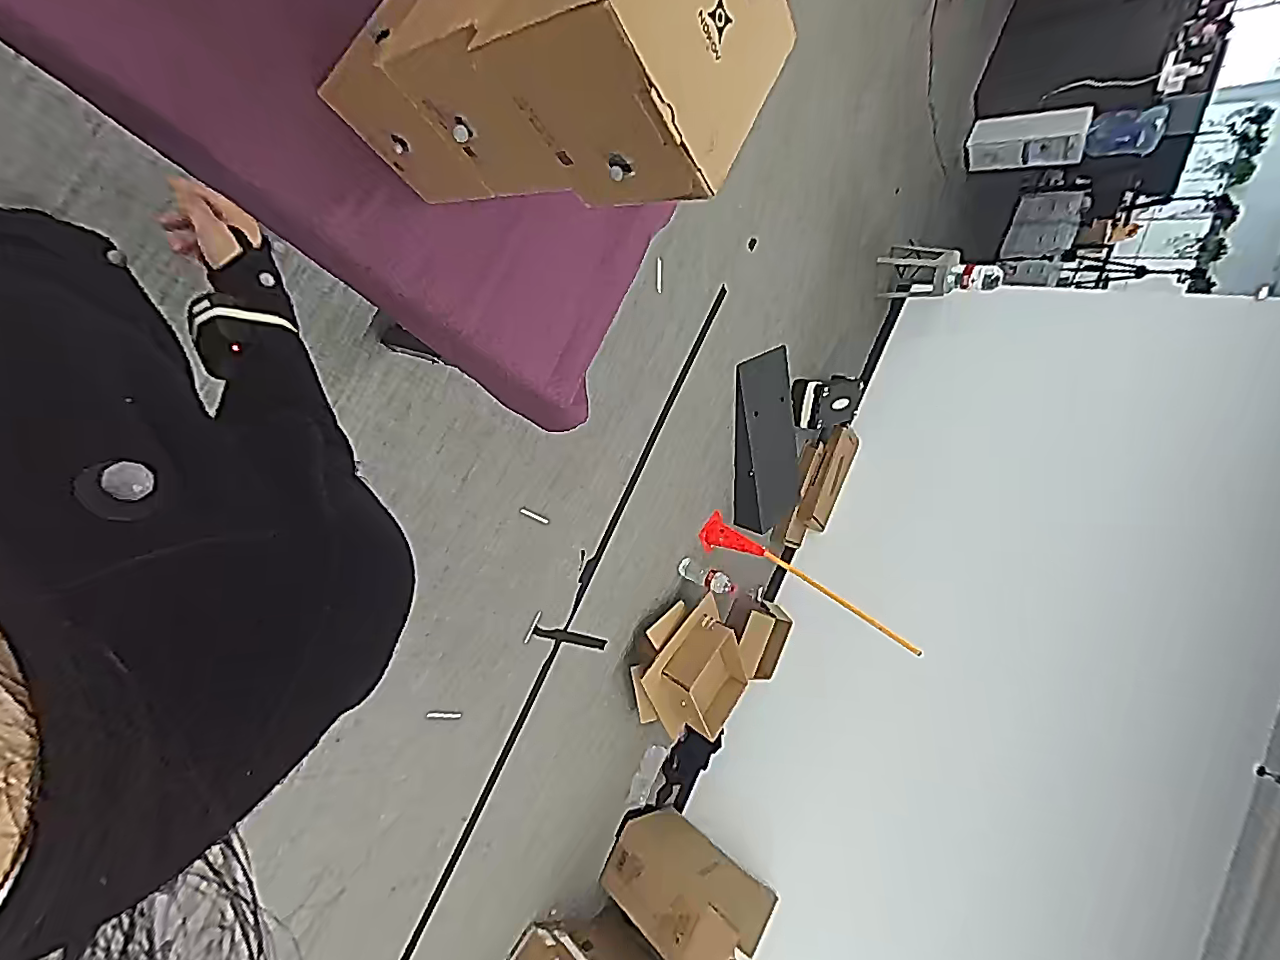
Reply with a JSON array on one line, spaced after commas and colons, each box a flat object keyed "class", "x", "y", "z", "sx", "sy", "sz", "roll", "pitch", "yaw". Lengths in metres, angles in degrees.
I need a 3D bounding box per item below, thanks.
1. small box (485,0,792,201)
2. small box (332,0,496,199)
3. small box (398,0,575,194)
[{"class": "small box", "x": -0.002, "y": -0.364, "z": 0.459, "sx": 0.168, "sy": 0.176, "sz": 0.179, "roll": 34, "pitch": 78, "yaw": -52}, {"class": "small box", "x": -0.239, "y": -0.471, "z": 0.658, "sx": 0.168, "sy": 0.176, "sz": 0.179, "roll": 40, "pitch": 74, "yaw": -51}, {"class": "small box", "x": -0.114, "y": -0.428, "z": 0.560, "sx": 0.168, "sy": 0.176, "sz": 0.179, "roll": 39, "pitch": 76, "yaw": -50}]
